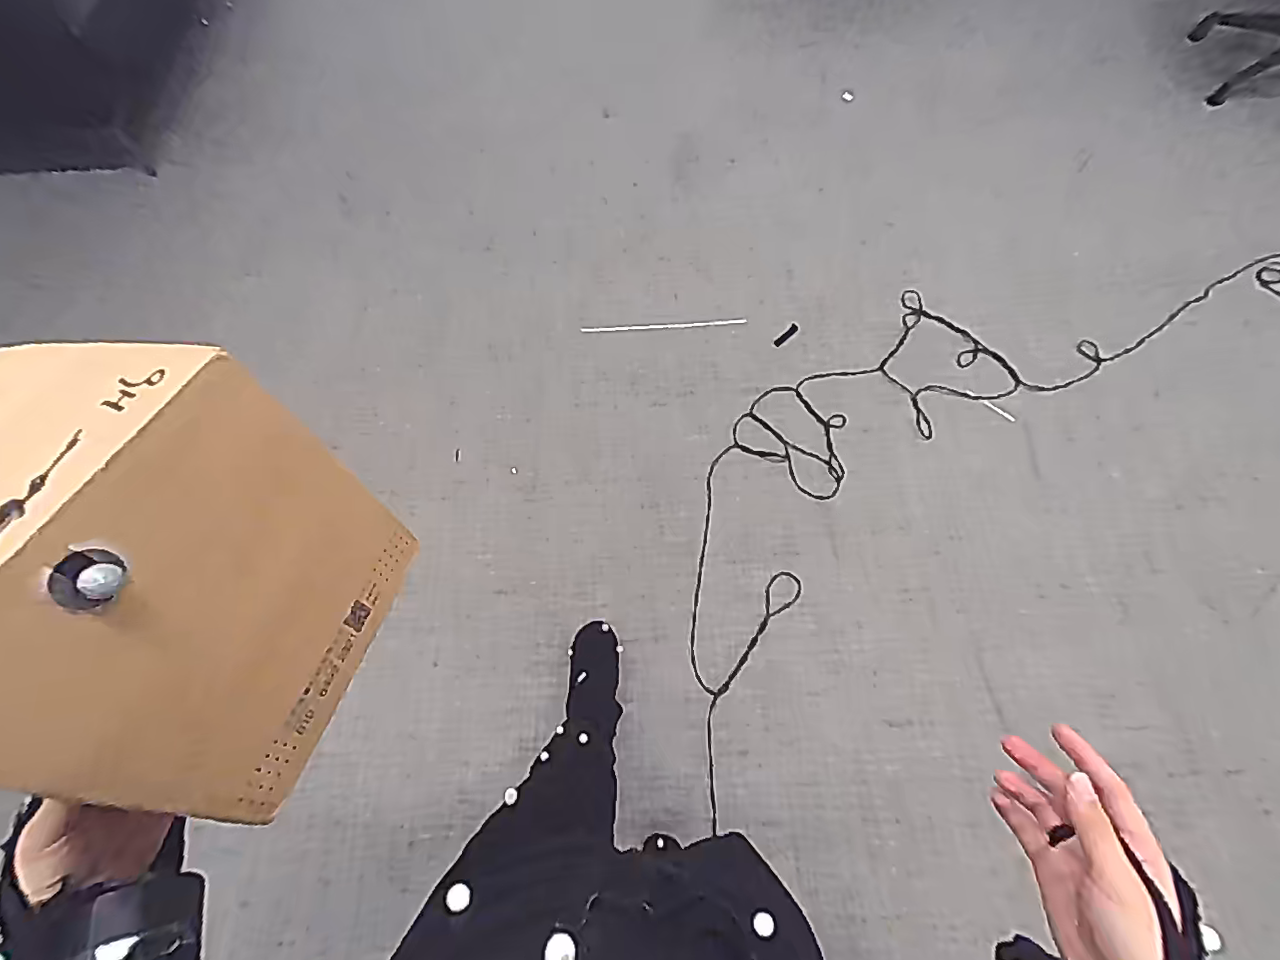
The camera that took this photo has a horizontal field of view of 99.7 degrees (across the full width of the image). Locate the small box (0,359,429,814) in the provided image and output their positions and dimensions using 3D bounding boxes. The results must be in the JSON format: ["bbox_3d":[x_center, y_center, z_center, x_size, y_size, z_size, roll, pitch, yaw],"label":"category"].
[{"bbox_3d":[-0.253,0.057,0.282,0.179,0.176,0.168,4,55,18],"label":"small box"}]
